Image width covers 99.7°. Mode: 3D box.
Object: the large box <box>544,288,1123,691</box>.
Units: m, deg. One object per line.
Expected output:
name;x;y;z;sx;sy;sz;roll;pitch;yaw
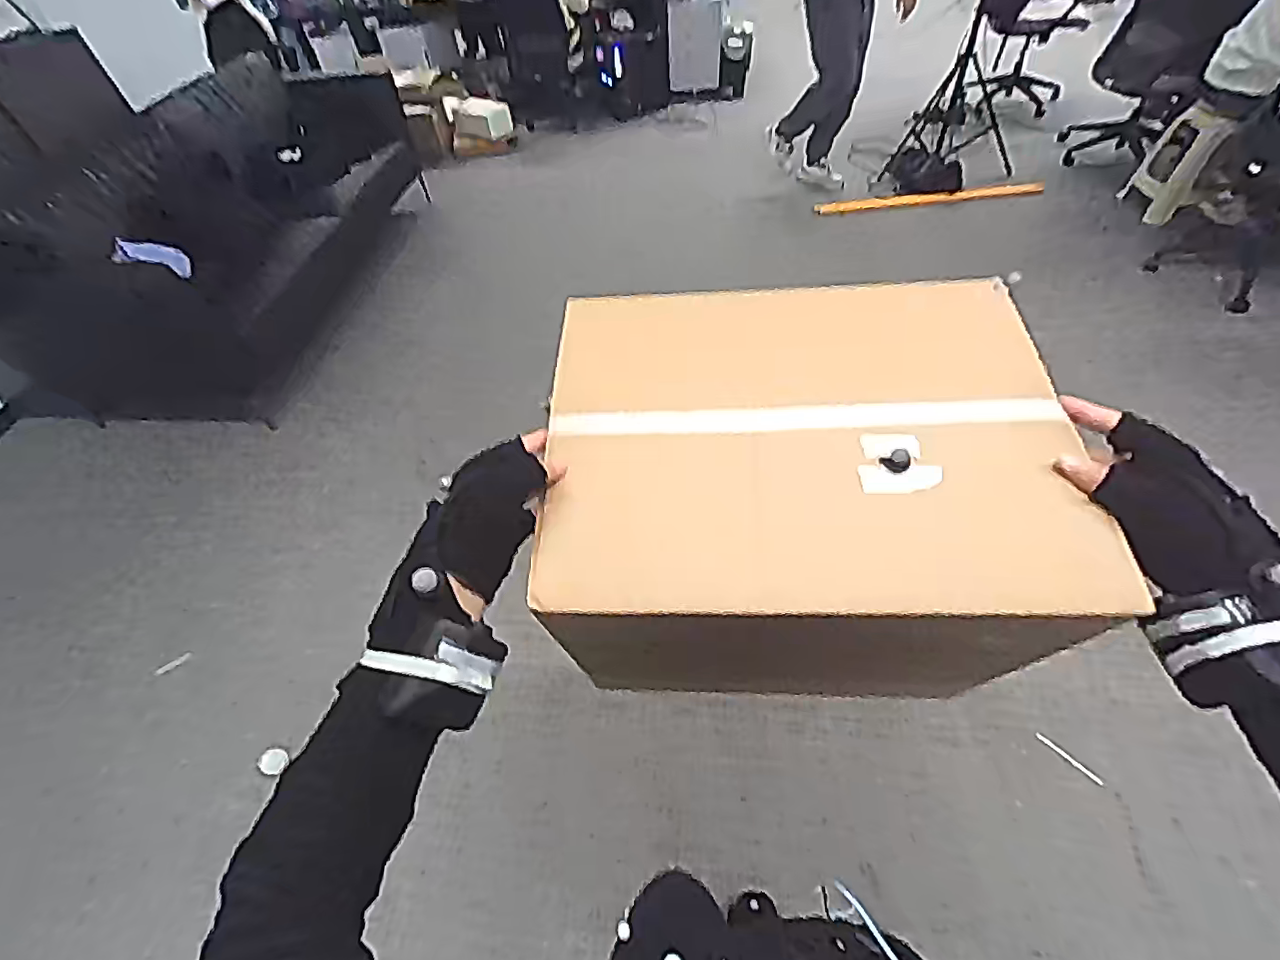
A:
large box;0.140;0.034;0.577;0.408;0.320;0.320;-2;60;5
